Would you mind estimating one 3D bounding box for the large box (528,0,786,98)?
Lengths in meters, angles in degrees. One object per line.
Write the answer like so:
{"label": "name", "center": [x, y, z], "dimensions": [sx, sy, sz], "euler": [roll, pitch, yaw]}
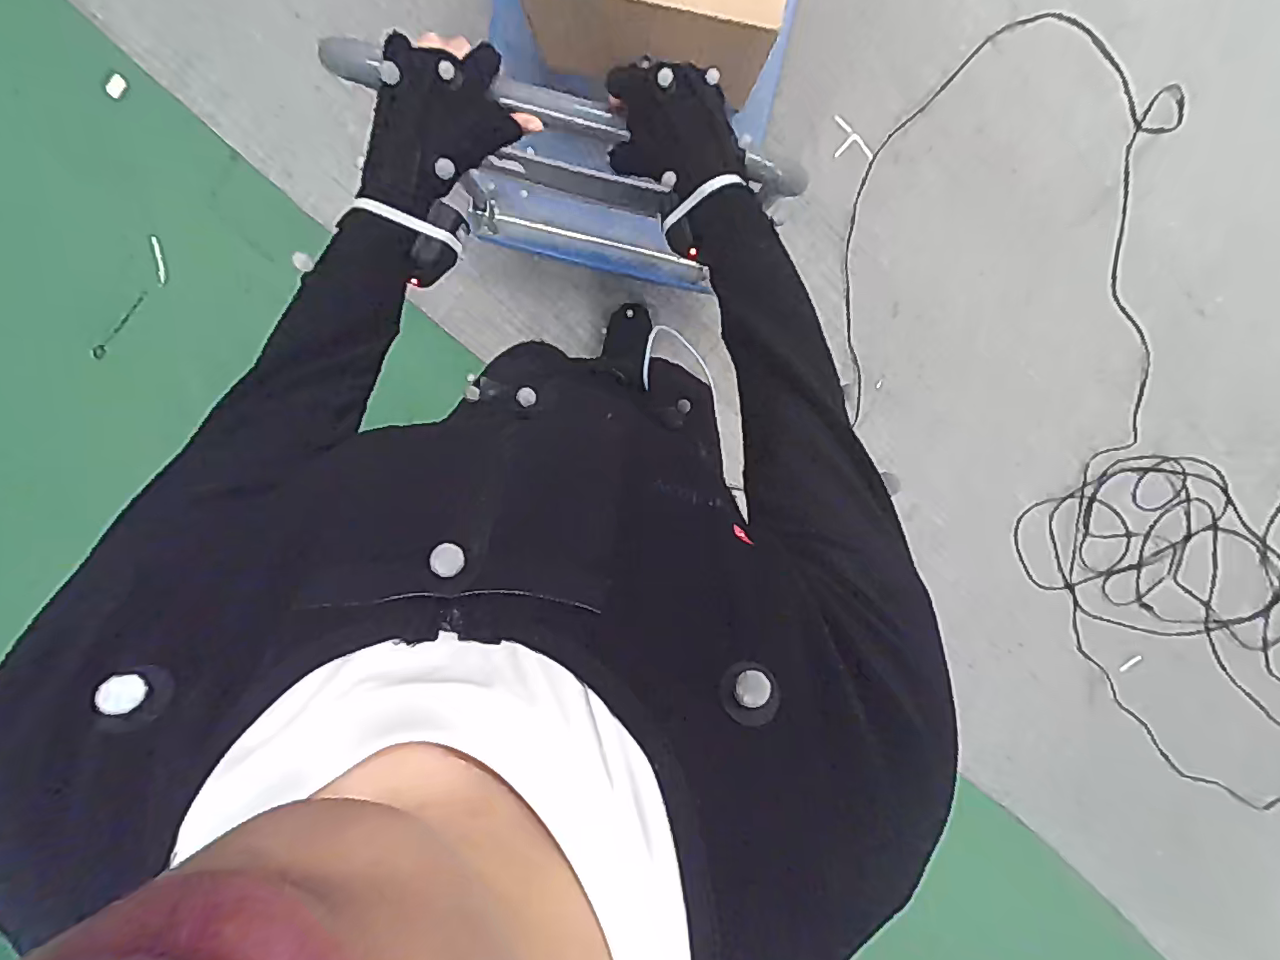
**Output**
{"label": "large box", "center": [0.040, -0.897, 0.899], "dimensions": [0.408, 0.320, 0.320], "euler": [9, 105, -3]}
